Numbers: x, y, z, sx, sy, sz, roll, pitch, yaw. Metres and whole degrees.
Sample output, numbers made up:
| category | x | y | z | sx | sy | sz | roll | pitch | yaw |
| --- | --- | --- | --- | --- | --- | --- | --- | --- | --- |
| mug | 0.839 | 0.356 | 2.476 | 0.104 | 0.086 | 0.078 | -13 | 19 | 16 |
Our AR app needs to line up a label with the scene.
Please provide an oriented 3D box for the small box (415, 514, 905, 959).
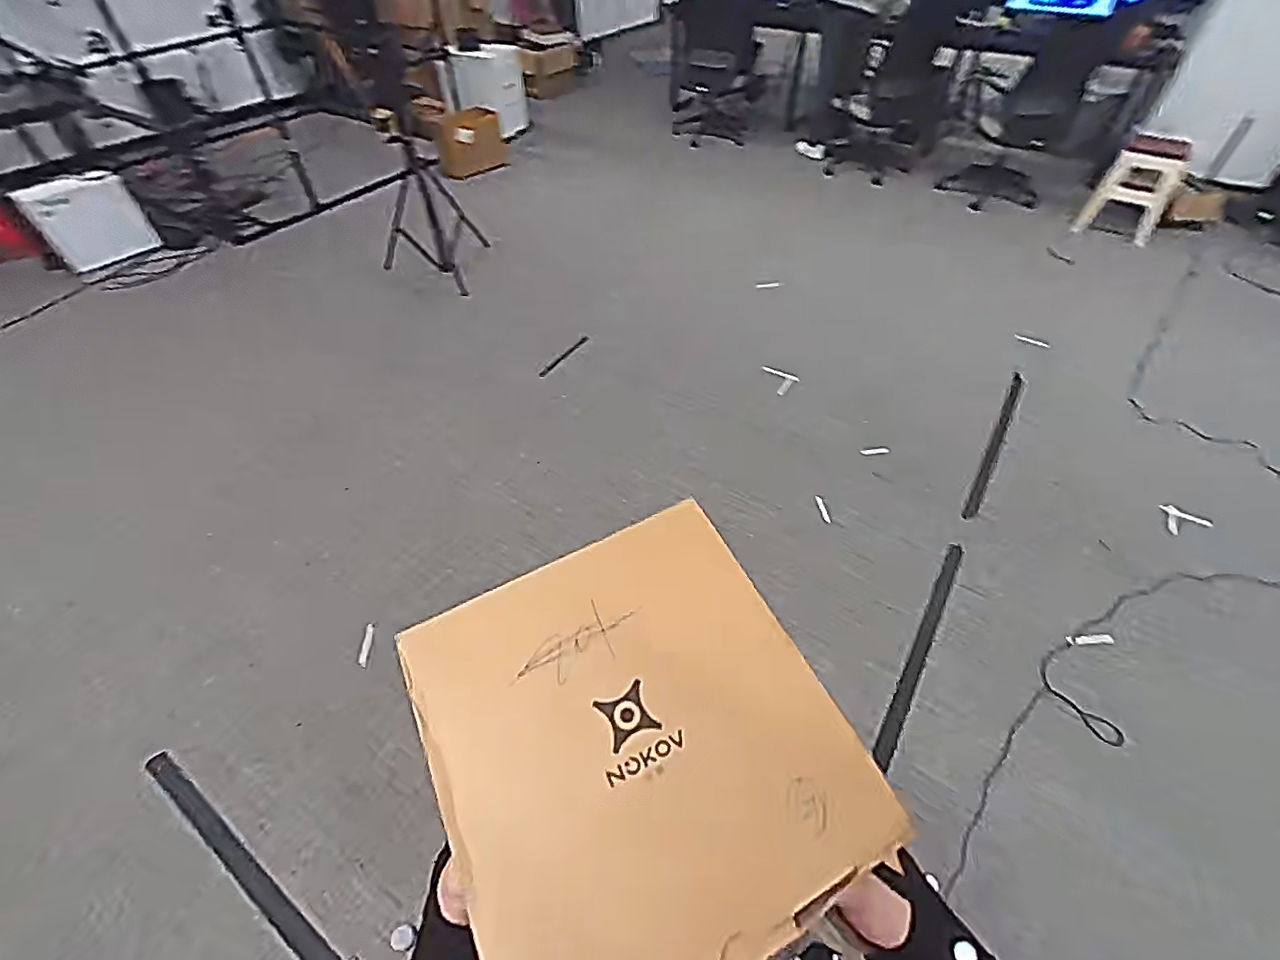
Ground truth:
| category | x | y | z | sx | sy | sz | roll | pitch | yaw |
| --- | --- | --- | --- | --- | --- | --- | --- | --- | --- |
| small box | 0.001 | 0.156 | 0.309 | 0.168 | 0.176 | 0.179 | -24 | 58 | -15 |
